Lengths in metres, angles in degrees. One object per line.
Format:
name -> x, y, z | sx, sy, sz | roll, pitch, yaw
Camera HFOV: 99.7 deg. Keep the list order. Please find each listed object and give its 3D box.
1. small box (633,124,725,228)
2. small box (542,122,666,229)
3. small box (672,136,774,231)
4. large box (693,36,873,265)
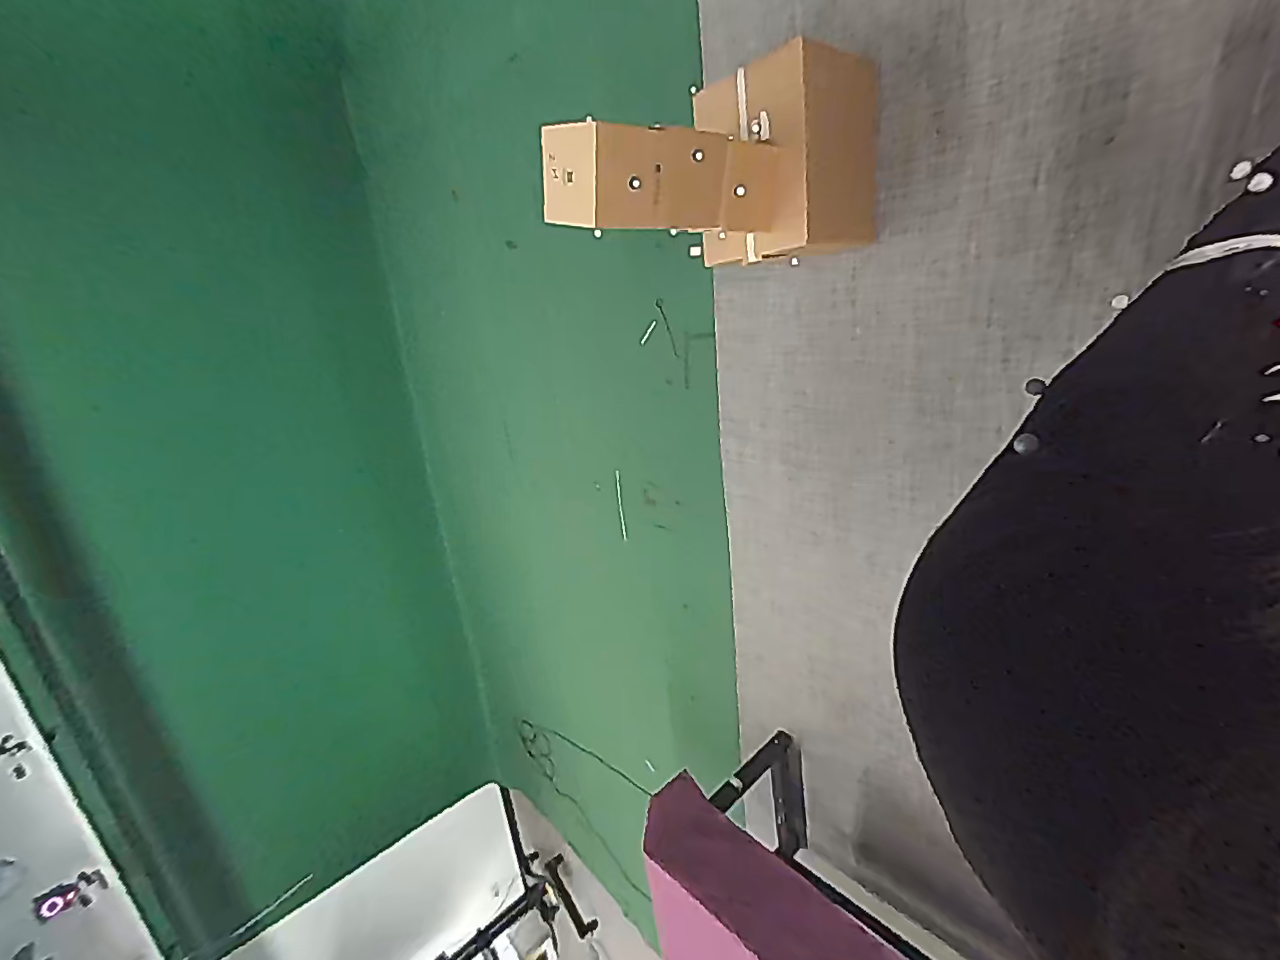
small box -> 0.060, -0.631, 1.133 | 0.168, 0.176, 0.179 | 30, 129, 41
small box -> -0.069, -0.583, 1.041 | 0.179, 0.176, 0.168 | 31, 128, 41
small box -> 0.186, -0.666, 1.230 | 0.168, 0.176, 0.179 | 26, 125, 43
large box -> 0.365, -0.780, 1.359 | 0.320, 0.320, 0.408 | 12, 114, 48
